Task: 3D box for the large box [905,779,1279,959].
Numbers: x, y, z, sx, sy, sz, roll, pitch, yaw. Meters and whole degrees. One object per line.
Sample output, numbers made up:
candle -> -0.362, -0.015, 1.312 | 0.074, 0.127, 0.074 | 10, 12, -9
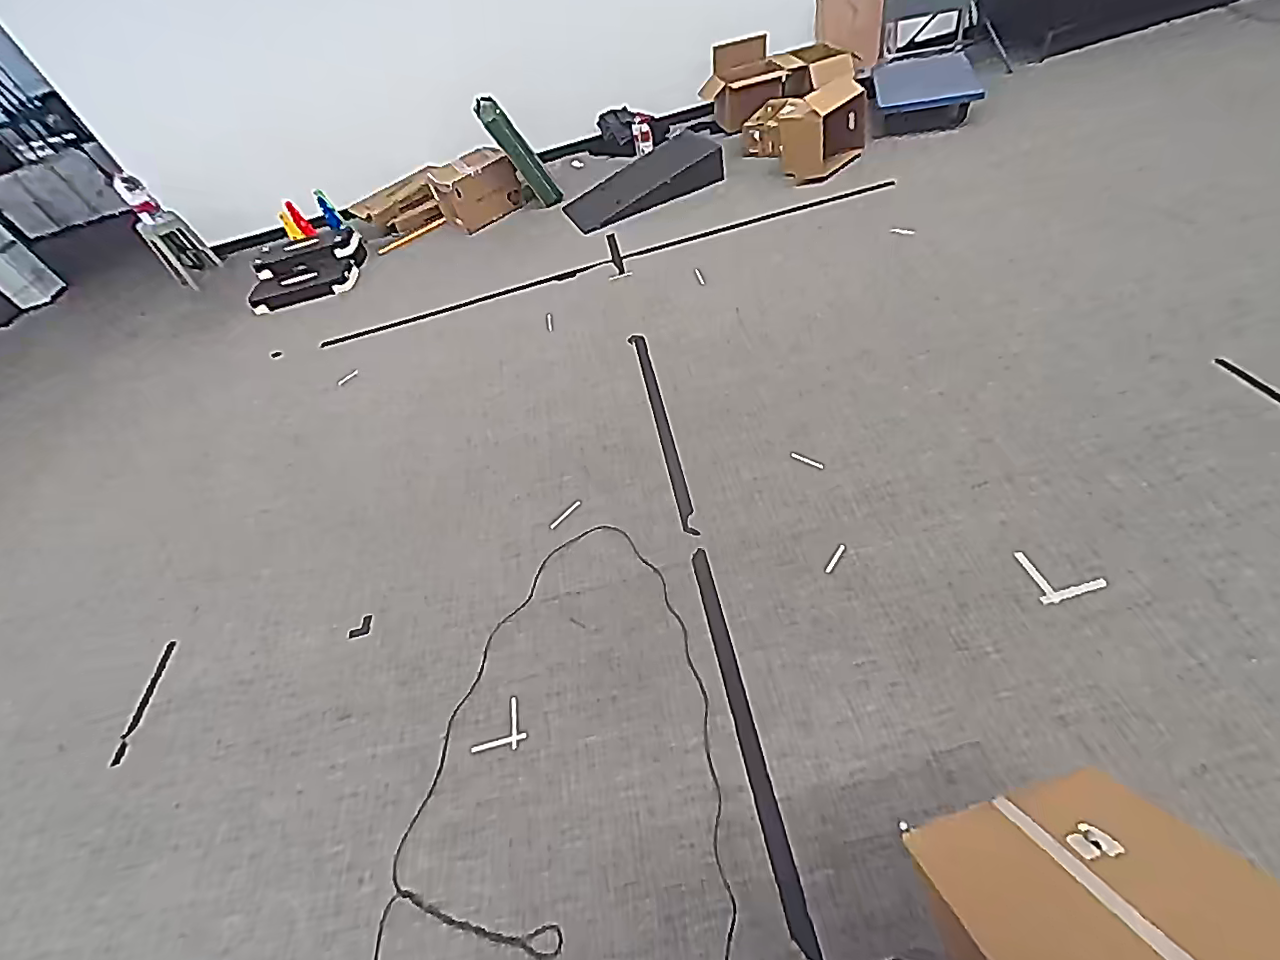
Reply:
large box -> 0.596, 0.637, 0.623 | 0.320, 0.408, 0.320 | -19, 86, 1
